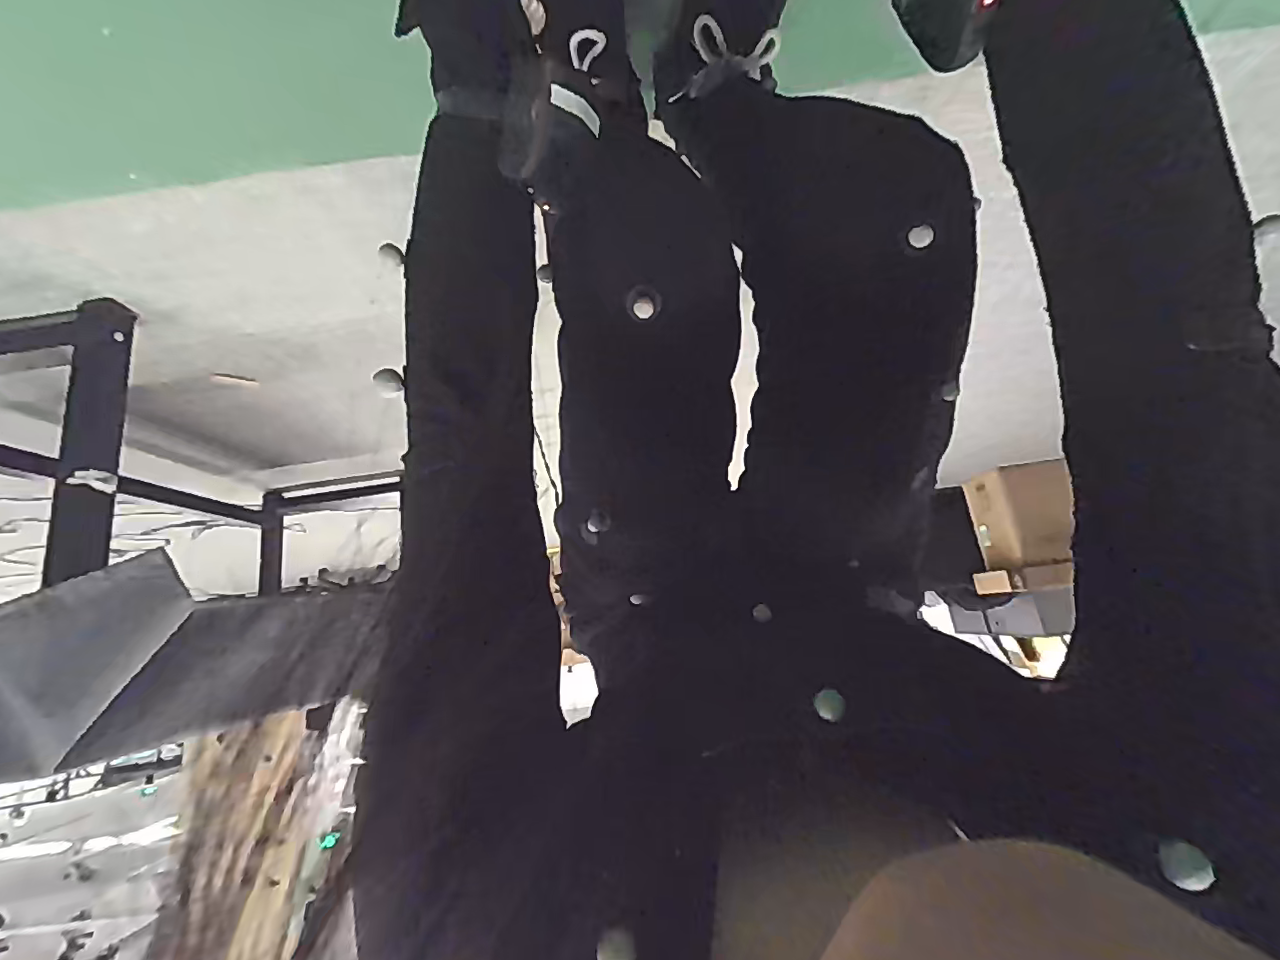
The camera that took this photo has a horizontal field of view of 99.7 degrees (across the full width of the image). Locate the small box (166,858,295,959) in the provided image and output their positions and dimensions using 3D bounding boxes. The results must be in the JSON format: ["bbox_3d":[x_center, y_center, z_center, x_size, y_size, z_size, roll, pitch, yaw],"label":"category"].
[{"bbox_3d":[-0.889,0.954,1.179,0.168,0.176,0.179,-7,164,0],"label":"small box"}]

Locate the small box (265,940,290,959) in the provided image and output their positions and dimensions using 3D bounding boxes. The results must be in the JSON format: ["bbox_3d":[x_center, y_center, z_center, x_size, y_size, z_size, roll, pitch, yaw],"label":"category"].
[{"bbox_3d":[-0.871,1.114,1.141,0.168,0.176,0.179,-8,164,1],"label":"small box"}]

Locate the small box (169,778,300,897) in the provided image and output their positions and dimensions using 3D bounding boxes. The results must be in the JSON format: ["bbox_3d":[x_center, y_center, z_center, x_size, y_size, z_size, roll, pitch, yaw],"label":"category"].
[{"bbox_3d":[-0.903,0.796,1.219,0.168,0.176,0.179,-8,165,2],"label":"small box"}]
